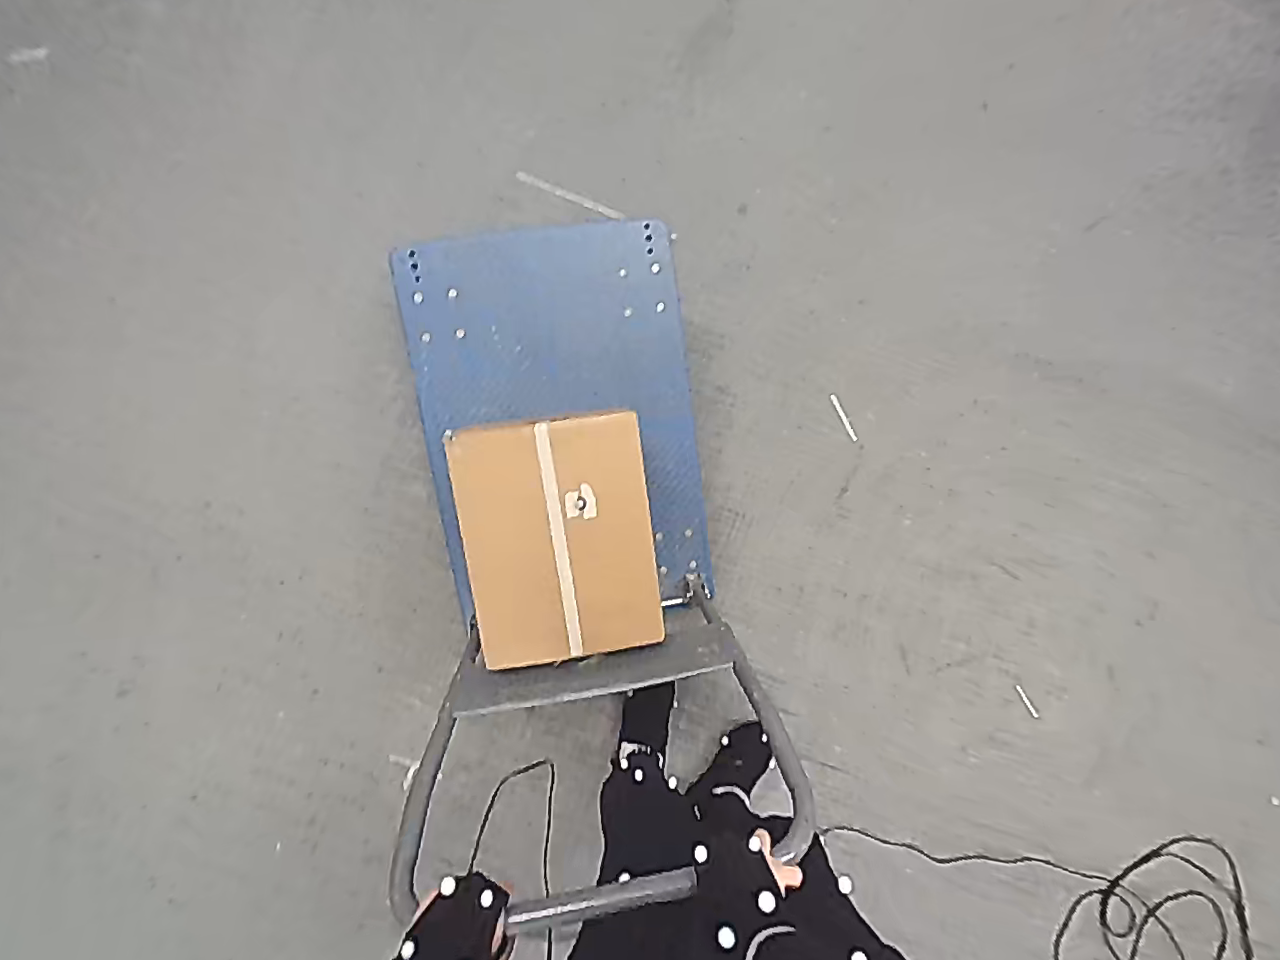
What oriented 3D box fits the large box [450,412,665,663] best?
[{"bbox_3d":[-0.145,0.086,1.071,0.320,0.320,0.408,-8,98,-4],"label":"large box"}]
